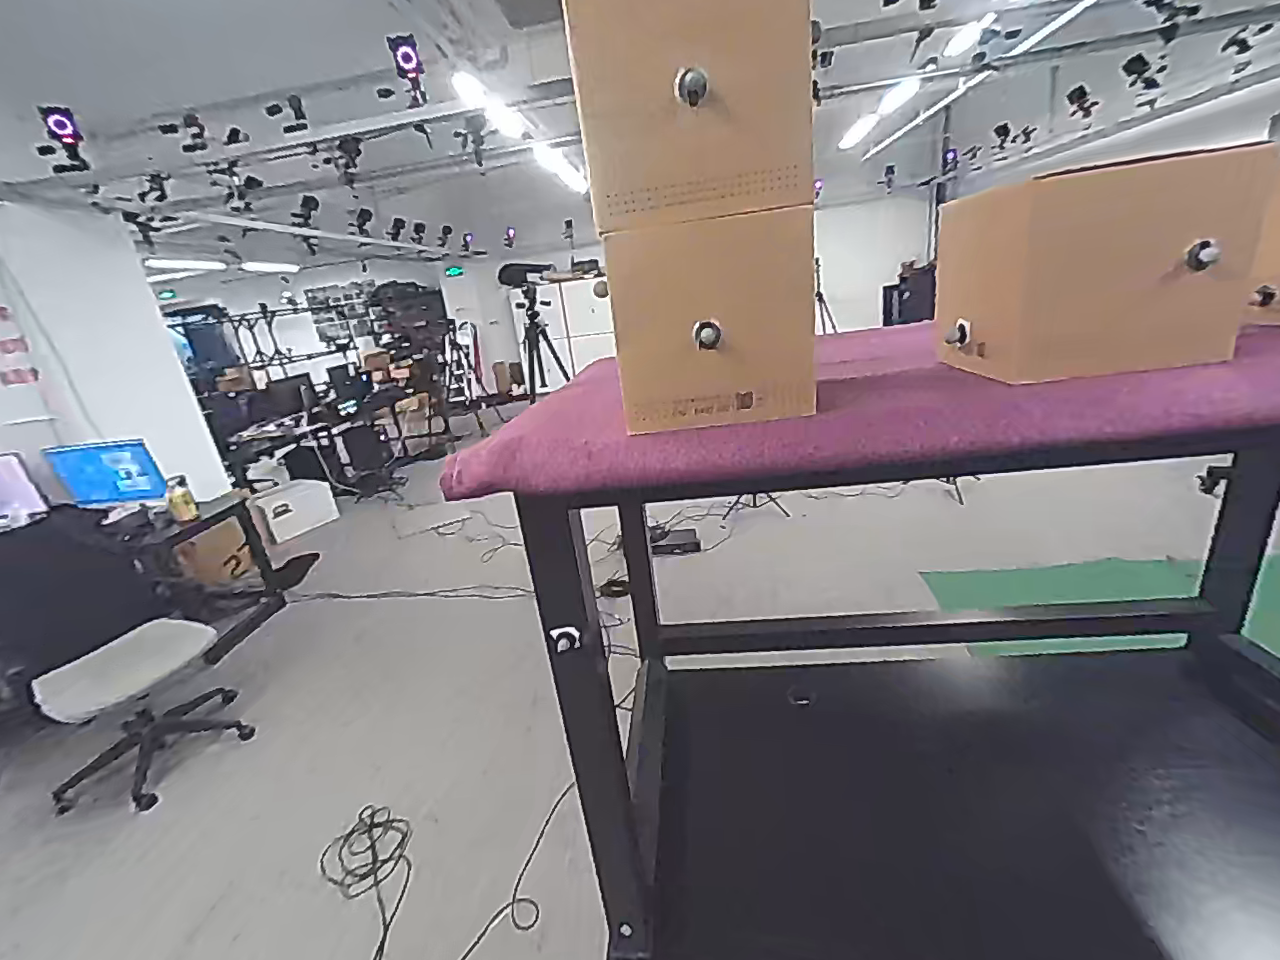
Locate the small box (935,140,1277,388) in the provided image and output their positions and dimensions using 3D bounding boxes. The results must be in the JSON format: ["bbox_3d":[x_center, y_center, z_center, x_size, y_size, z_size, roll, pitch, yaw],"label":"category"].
[{"bbox_3d":[0.401,-0.191,0.507,0.179,0.176,0.168,-7,19,6],"label":"small box"}]

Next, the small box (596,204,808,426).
[{"bbox_3d":[0.061,-0.151,0.518,0.168,0.176,0.179,-5,20,5],"label":"small box"}]
